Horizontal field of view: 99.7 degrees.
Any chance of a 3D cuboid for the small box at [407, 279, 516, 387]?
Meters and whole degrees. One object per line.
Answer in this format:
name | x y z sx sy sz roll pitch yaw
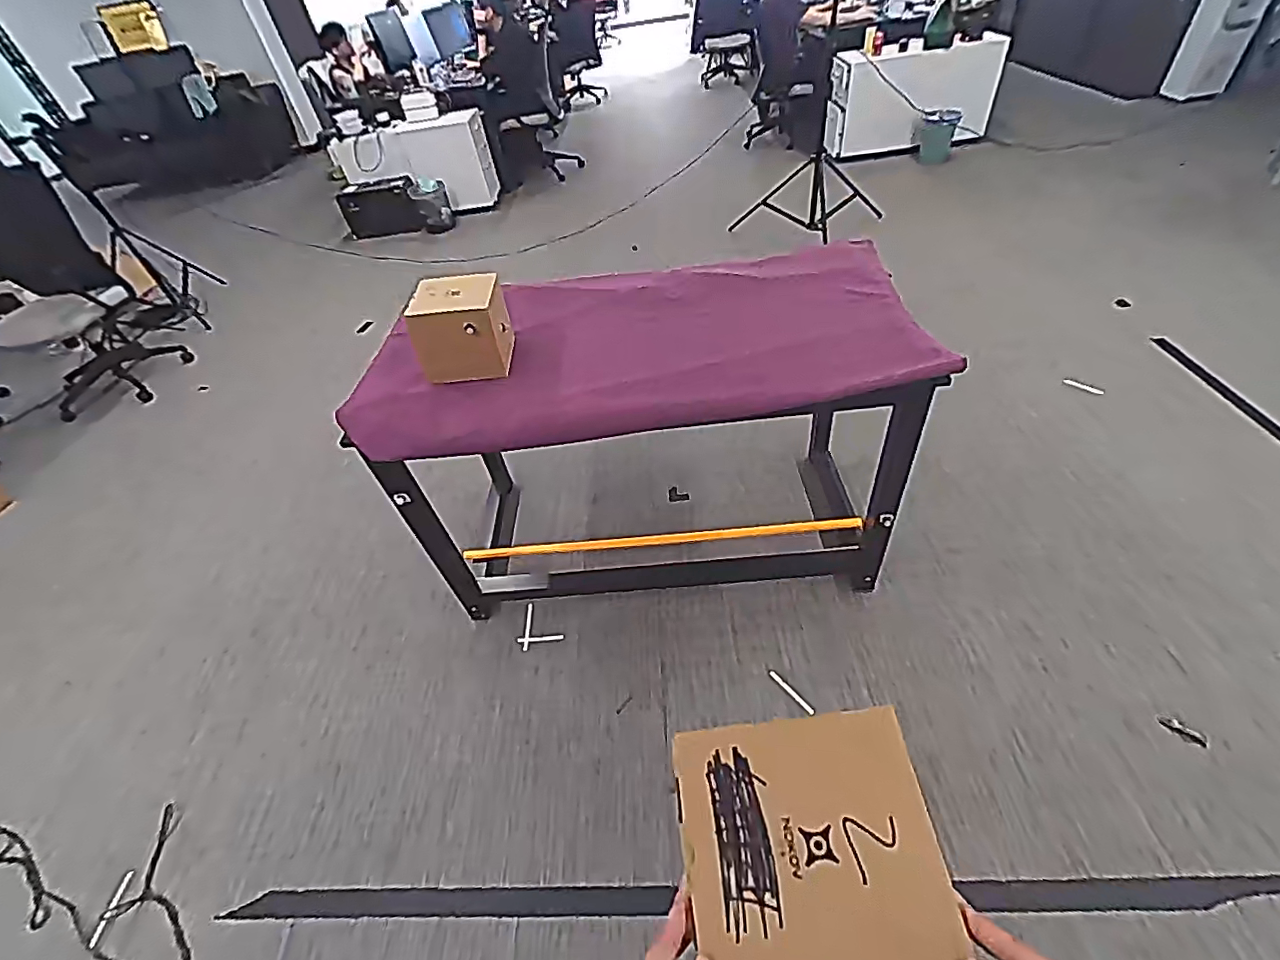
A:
small box | -0.385 -0.325 1.207 0.179 0.176 0.168 -6 44 1
